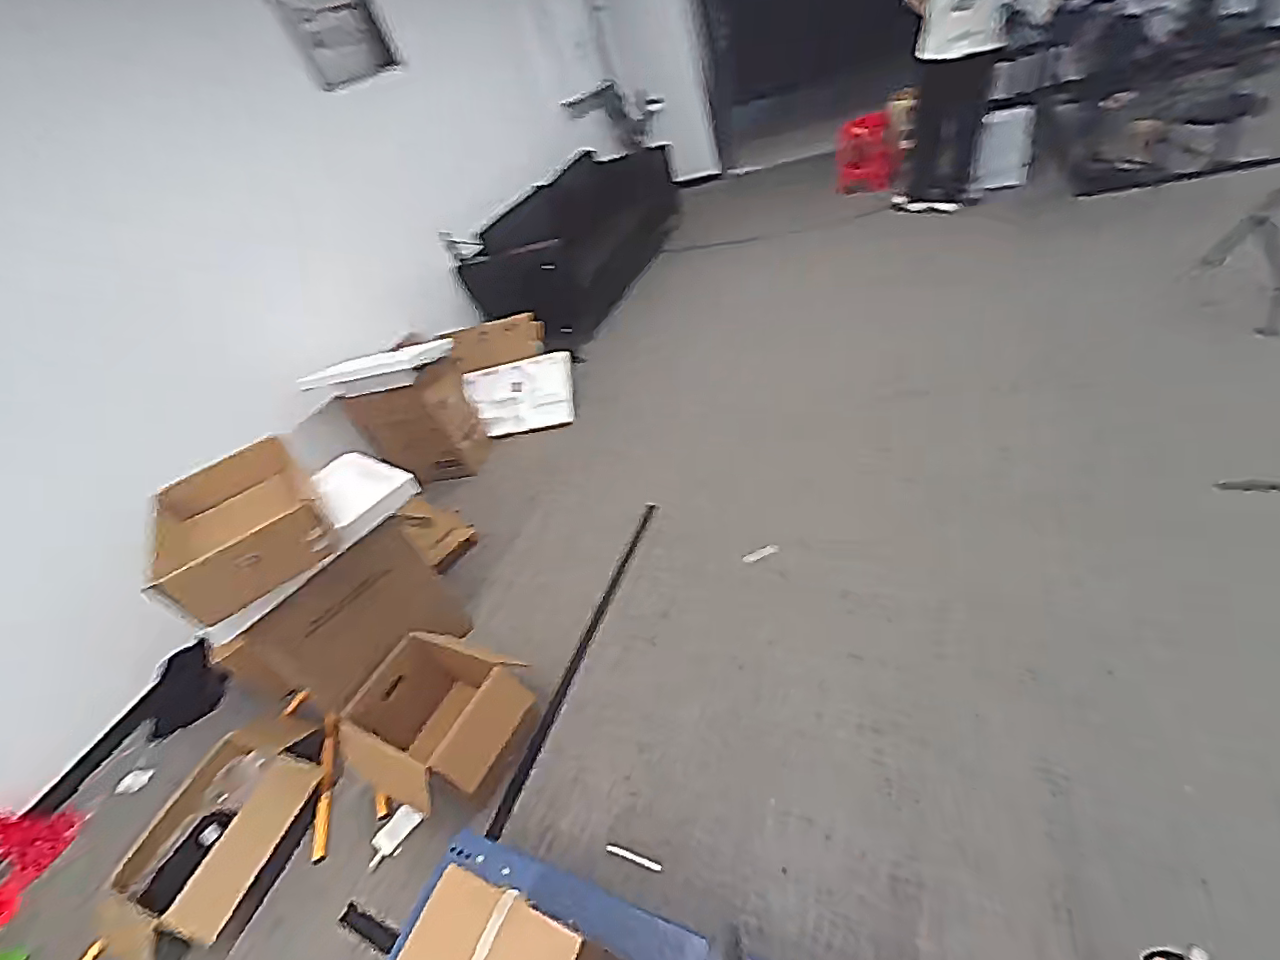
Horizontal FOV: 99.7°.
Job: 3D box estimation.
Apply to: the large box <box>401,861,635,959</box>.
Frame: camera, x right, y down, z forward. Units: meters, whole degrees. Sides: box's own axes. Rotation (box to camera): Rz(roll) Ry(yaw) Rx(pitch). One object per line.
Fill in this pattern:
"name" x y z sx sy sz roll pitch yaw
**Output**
"large box" -0.251 0.972 0.931 0.320 0.320 0.408 2 45 29
